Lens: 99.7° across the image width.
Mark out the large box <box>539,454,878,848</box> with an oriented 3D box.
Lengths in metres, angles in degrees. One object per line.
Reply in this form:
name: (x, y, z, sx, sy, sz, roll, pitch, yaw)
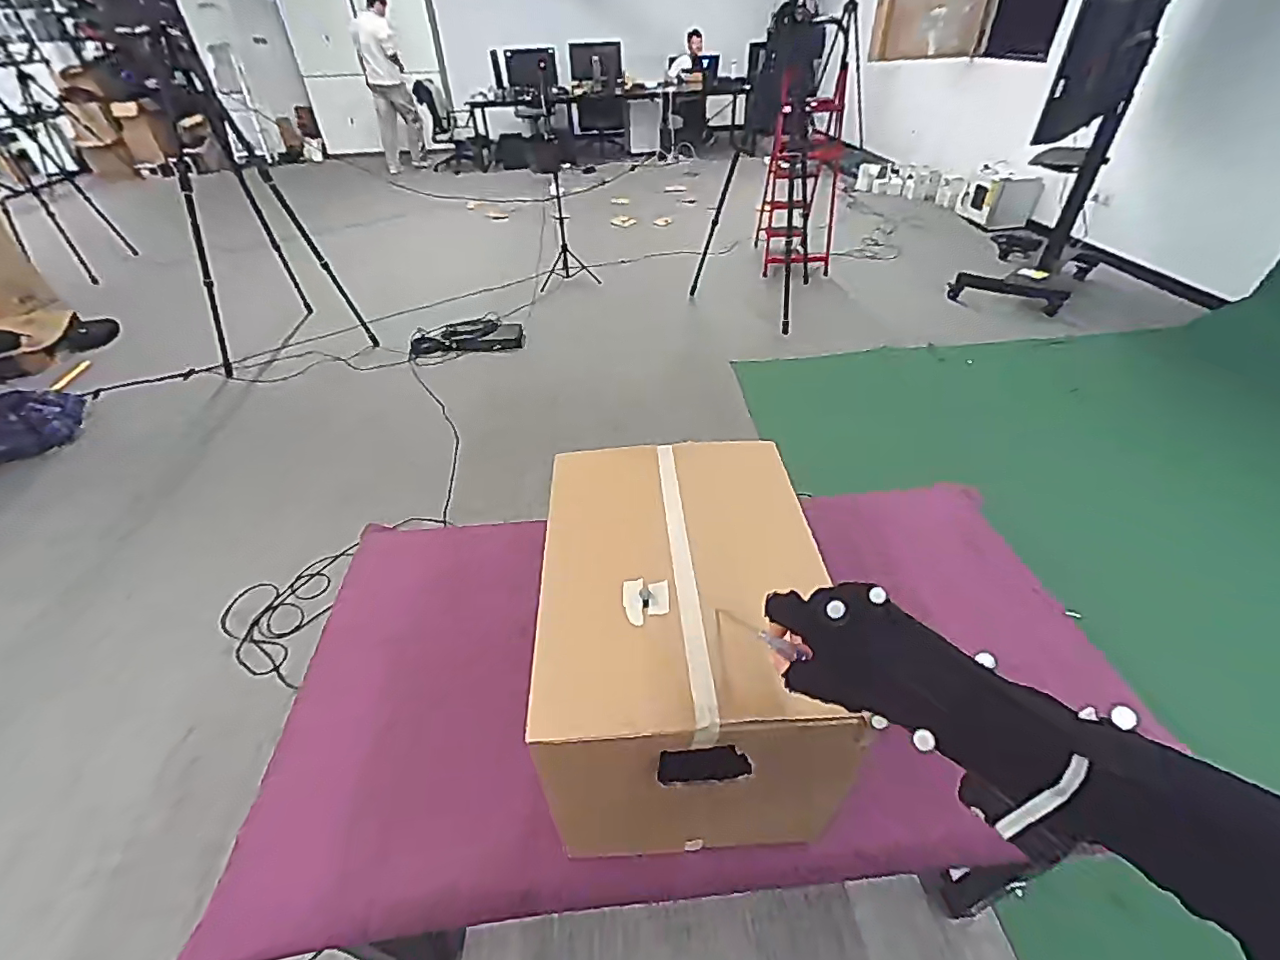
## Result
large box: (0.051, 0.208, 0.724, 0.320, 0.320, 0.408, -3, 41, -1)
